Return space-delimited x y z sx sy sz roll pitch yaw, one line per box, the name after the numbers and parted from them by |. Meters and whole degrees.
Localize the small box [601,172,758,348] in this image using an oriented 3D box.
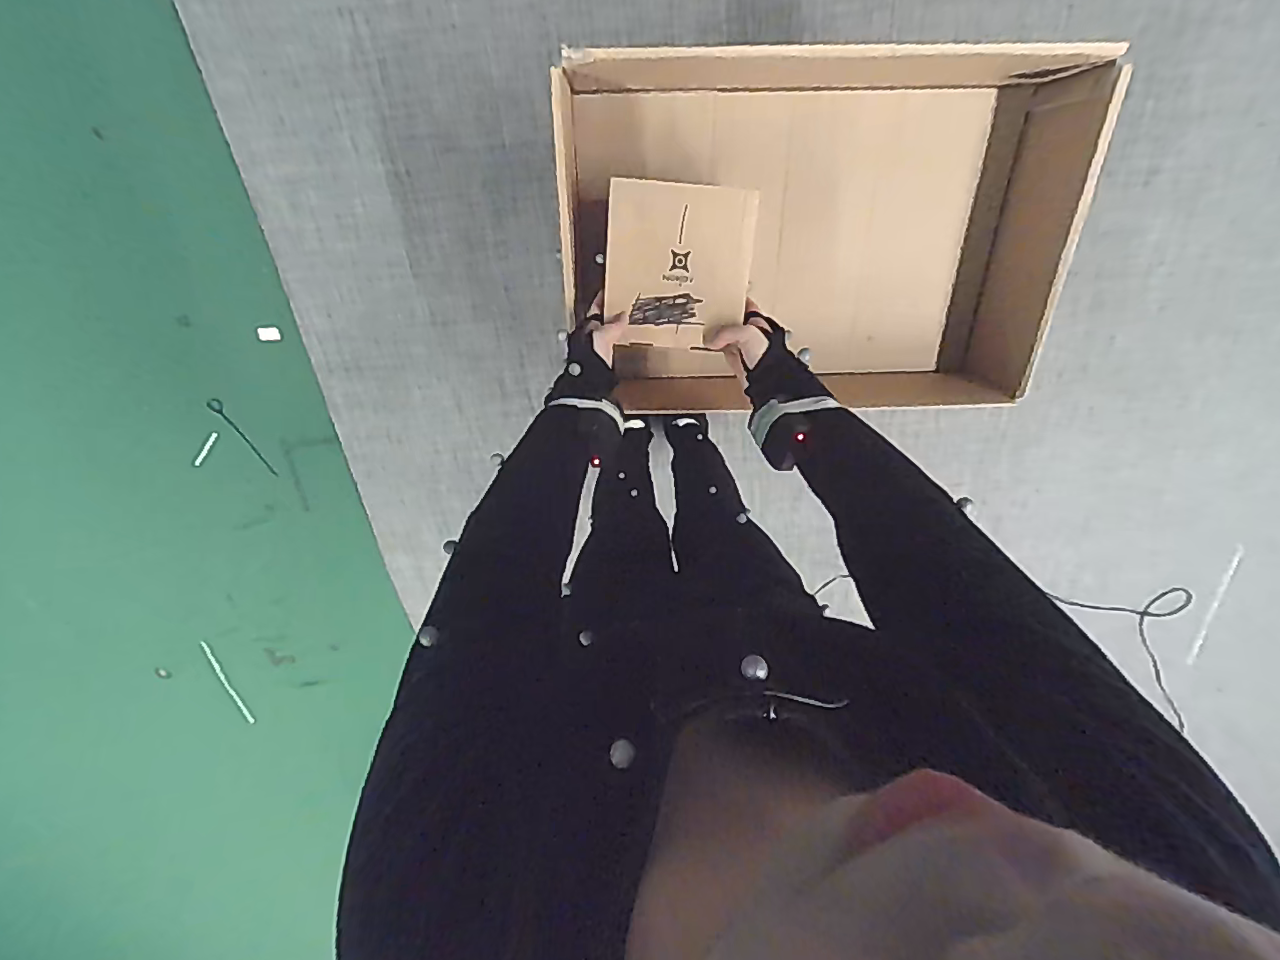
0.039 -0.271 0.685 0.168 0.176 0.179 3 110 -4 | small box
